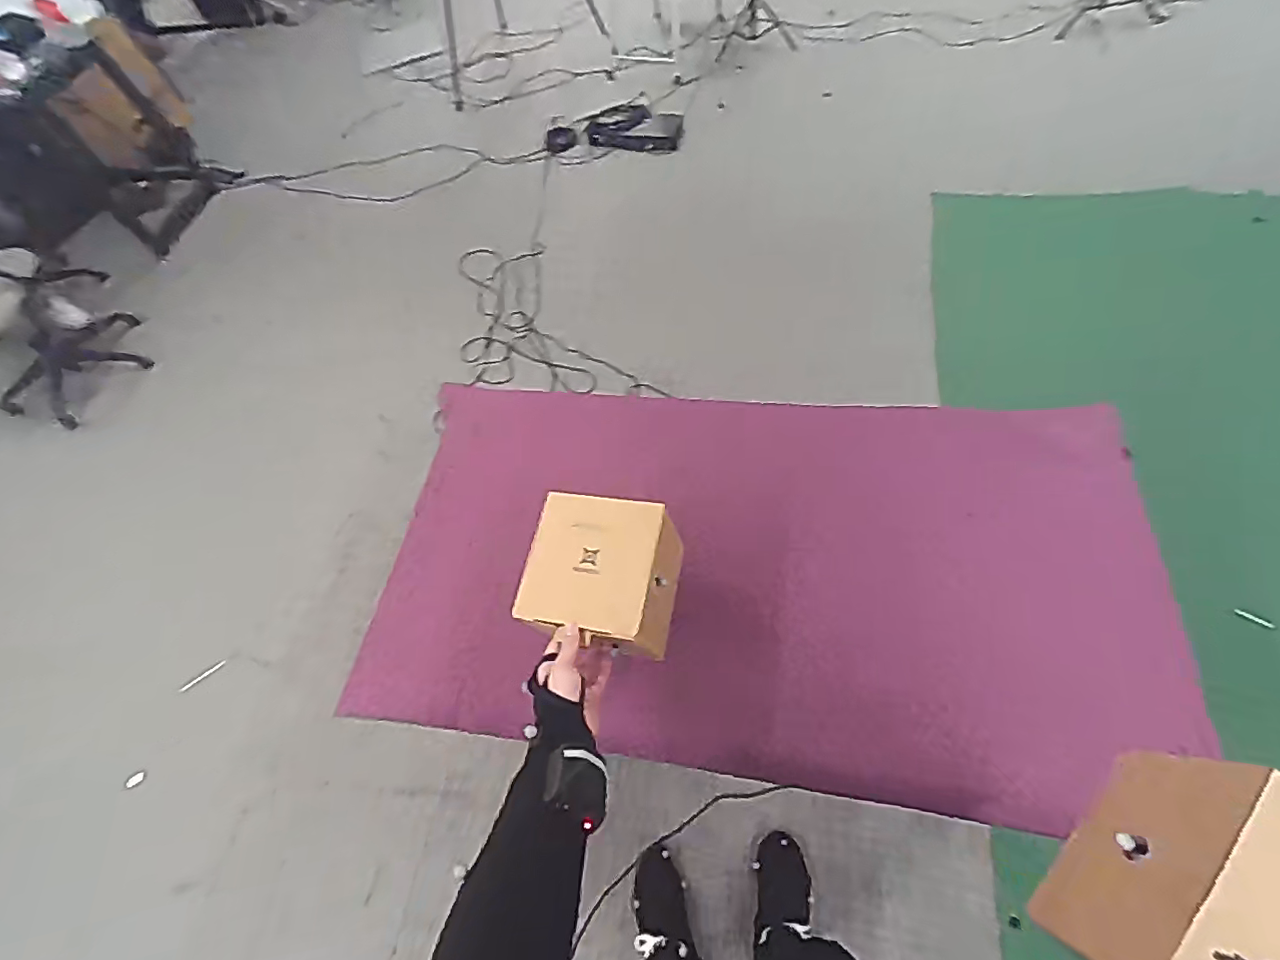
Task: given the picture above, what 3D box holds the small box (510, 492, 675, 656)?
[{"bbox_3d":[-0.052,0.138,0.759,0.168,0.176,0.179,7,65,16],"label":"small box"}]
